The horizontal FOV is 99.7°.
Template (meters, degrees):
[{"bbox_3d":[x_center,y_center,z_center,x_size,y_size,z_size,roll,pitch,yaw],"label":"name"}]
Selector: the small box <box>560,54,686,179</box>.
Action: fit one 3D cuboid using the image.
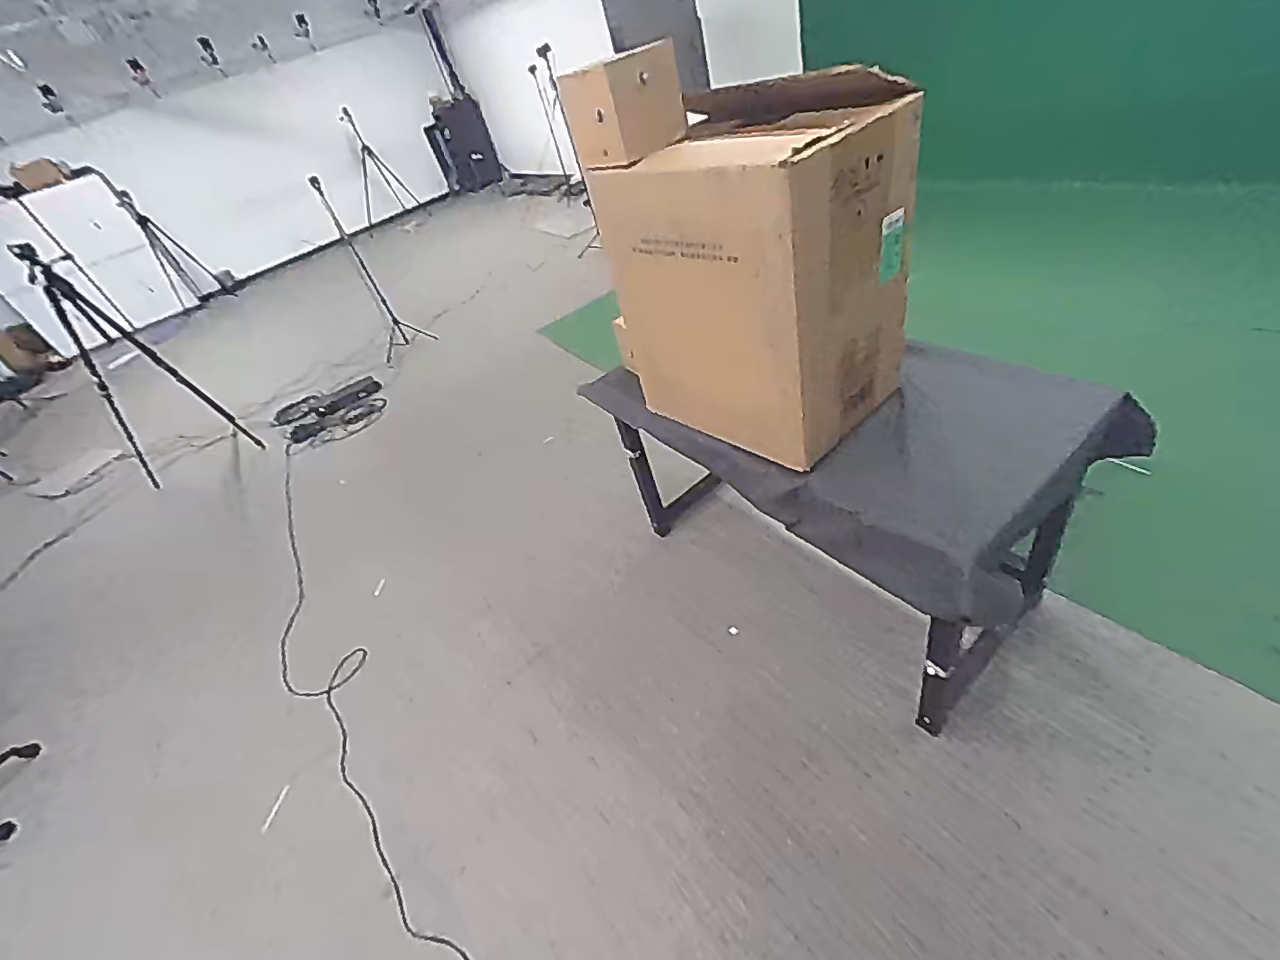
[{"bbox_3d":[-0.028,-0.733,1.108,0.179,0.176,0.168,-37,41,-22],"label":"small box"}]
